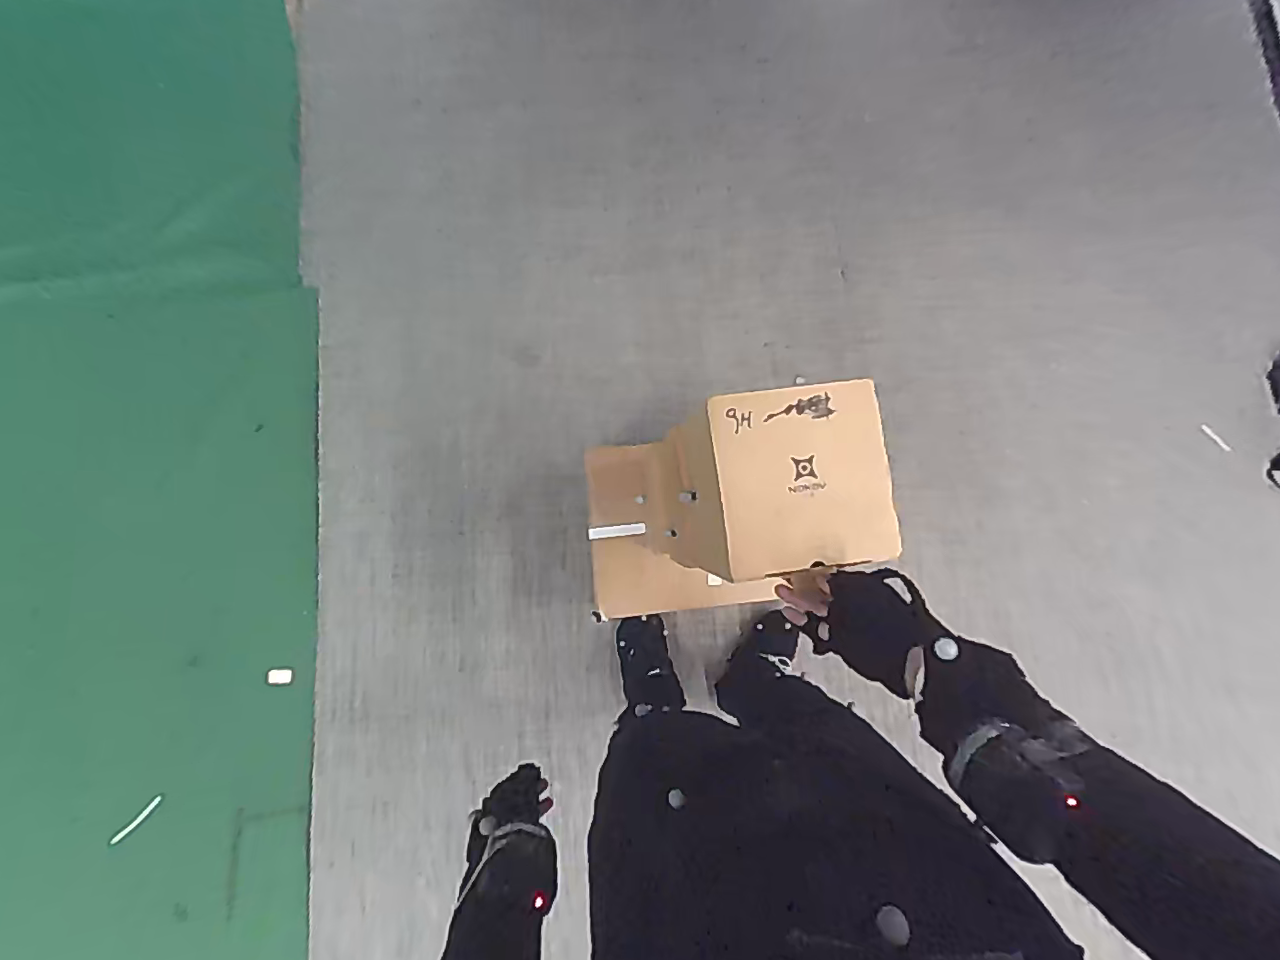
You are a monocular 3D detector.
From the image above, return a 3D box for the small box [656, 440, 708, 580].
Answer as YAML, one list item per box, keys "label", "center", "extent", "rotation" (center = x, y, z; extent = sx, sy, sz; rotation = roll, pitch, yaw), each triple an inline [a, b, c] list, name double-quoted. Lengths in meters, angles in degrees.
- label: "small box"
  center: [0.119, 0.034, 0.753]
  extent: [0.168, 0.176, 0.179]
  rotation: [-8, 85, -5]

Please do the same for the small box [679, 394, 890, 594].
- label: "small box"
  center: [0.142, 0.017, 0.592]
  extent: [0.168, 0.176, 0.179]
  rotation: [-8, 86, -5]
